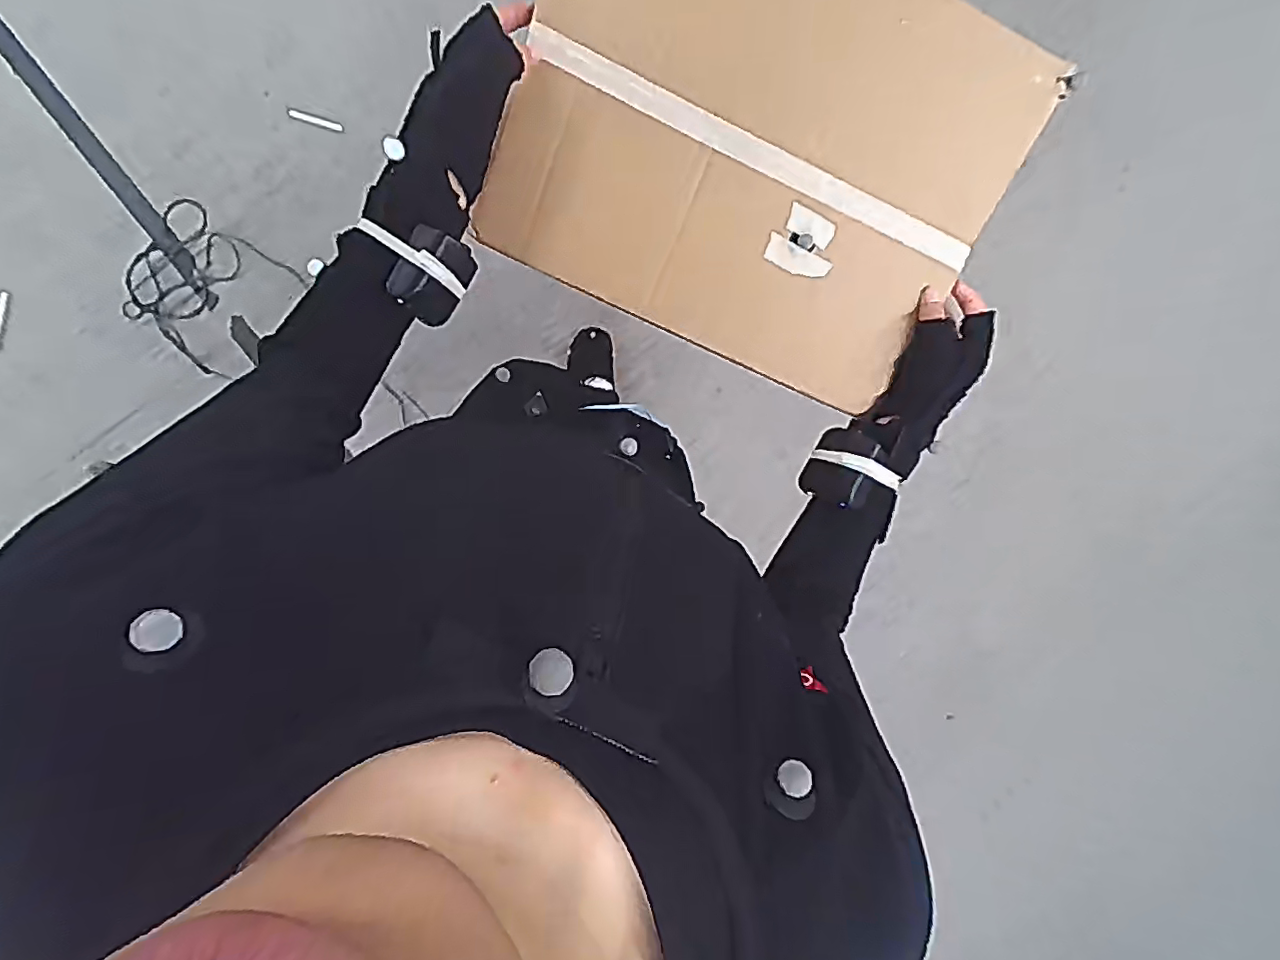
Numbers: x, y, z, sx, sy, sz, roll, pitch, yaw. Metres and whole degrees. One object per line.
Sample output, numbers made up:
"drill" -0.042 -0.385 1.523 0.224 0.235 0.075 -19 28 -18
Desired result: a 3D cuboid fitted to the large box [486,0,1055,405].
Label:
"large box" 0.099 -0.322 0.601 0.408 0.320 0.320 23 107 -8
